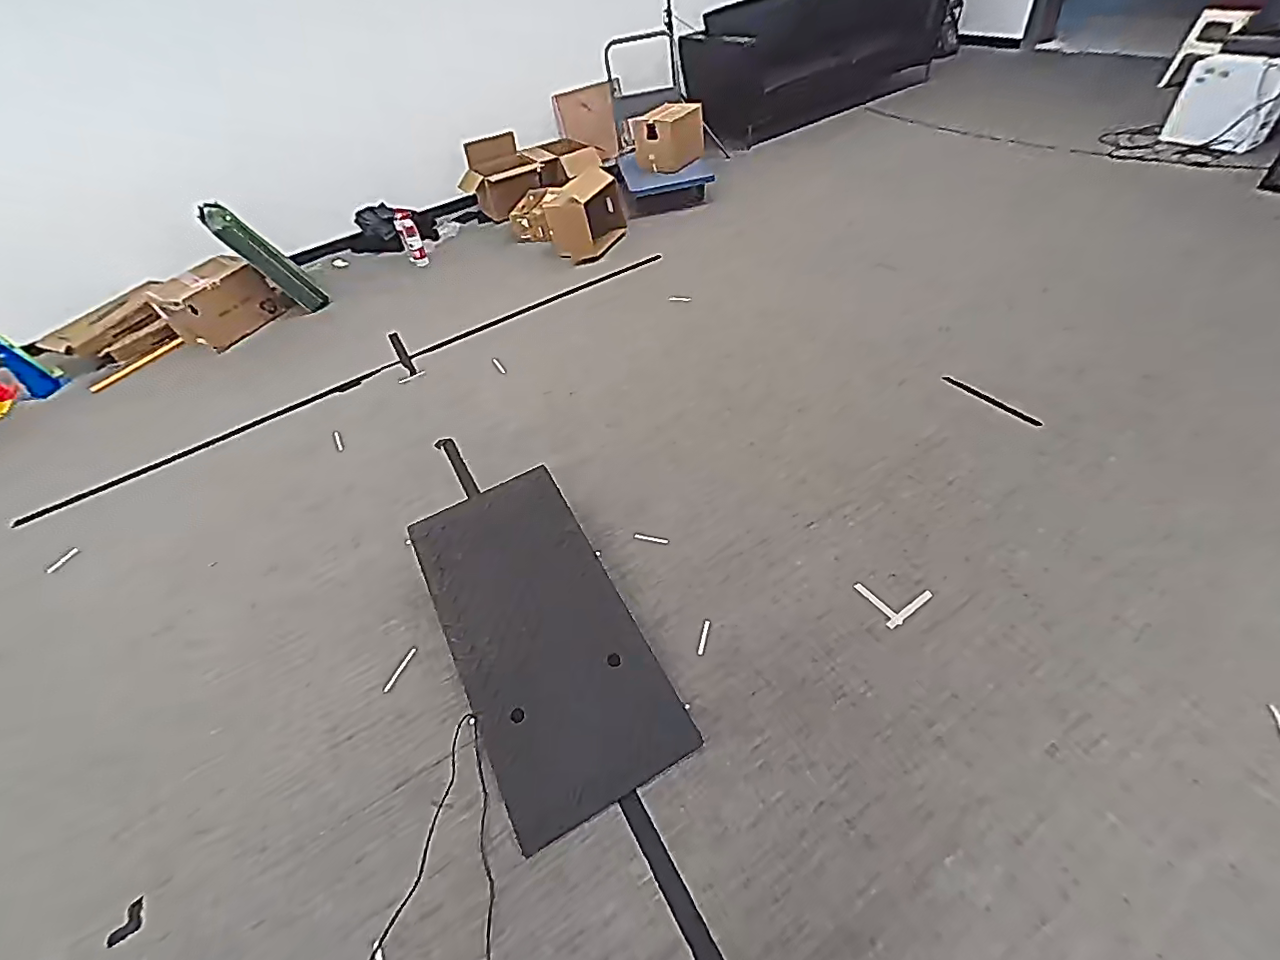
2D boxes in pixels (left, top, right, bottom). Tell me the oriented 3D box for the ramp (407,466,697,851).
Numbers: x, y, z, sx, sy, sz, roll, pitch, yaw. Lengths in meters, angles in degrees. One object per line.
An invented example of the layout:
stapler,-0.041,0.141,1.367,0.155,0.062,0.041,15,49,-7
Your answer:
ramp,-0.298,0.405,1.555,0.509,0.206,0.991,-27,48,-16
